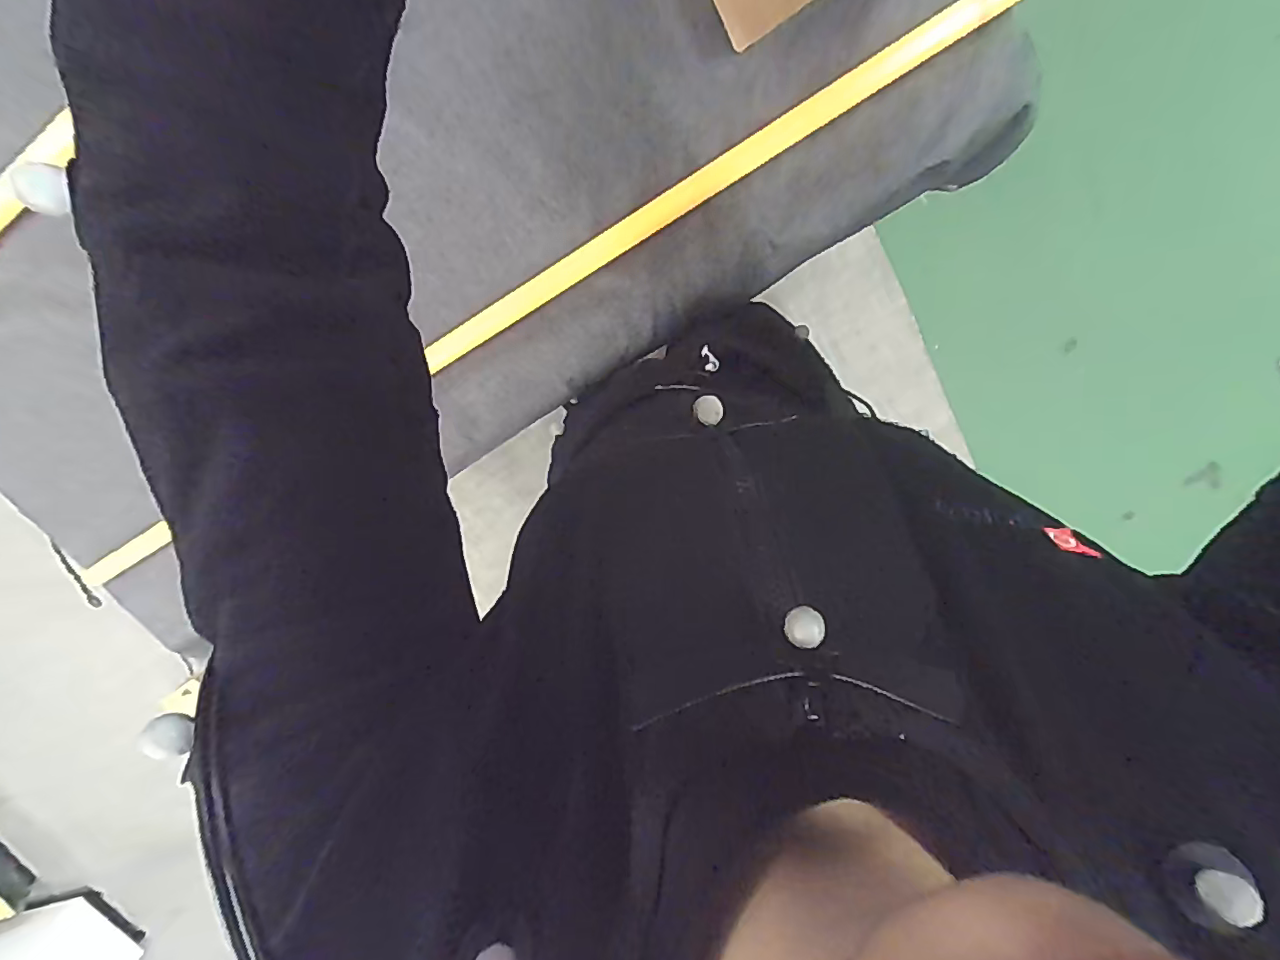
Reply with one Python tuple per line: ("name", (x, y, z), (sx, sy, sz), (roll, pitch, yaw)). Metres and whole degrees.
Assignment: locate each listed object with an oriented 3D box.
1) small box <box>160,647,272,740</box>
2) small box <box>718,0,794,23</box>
("small box", (-1.298, 0.654, 1.670), (0.168, 0.176, 0.179), (-33, 105, 15))
("small box", (0.105, -0.455, 0.356), (0.168, 0.176, 0.179), (-28, 106, 15))
